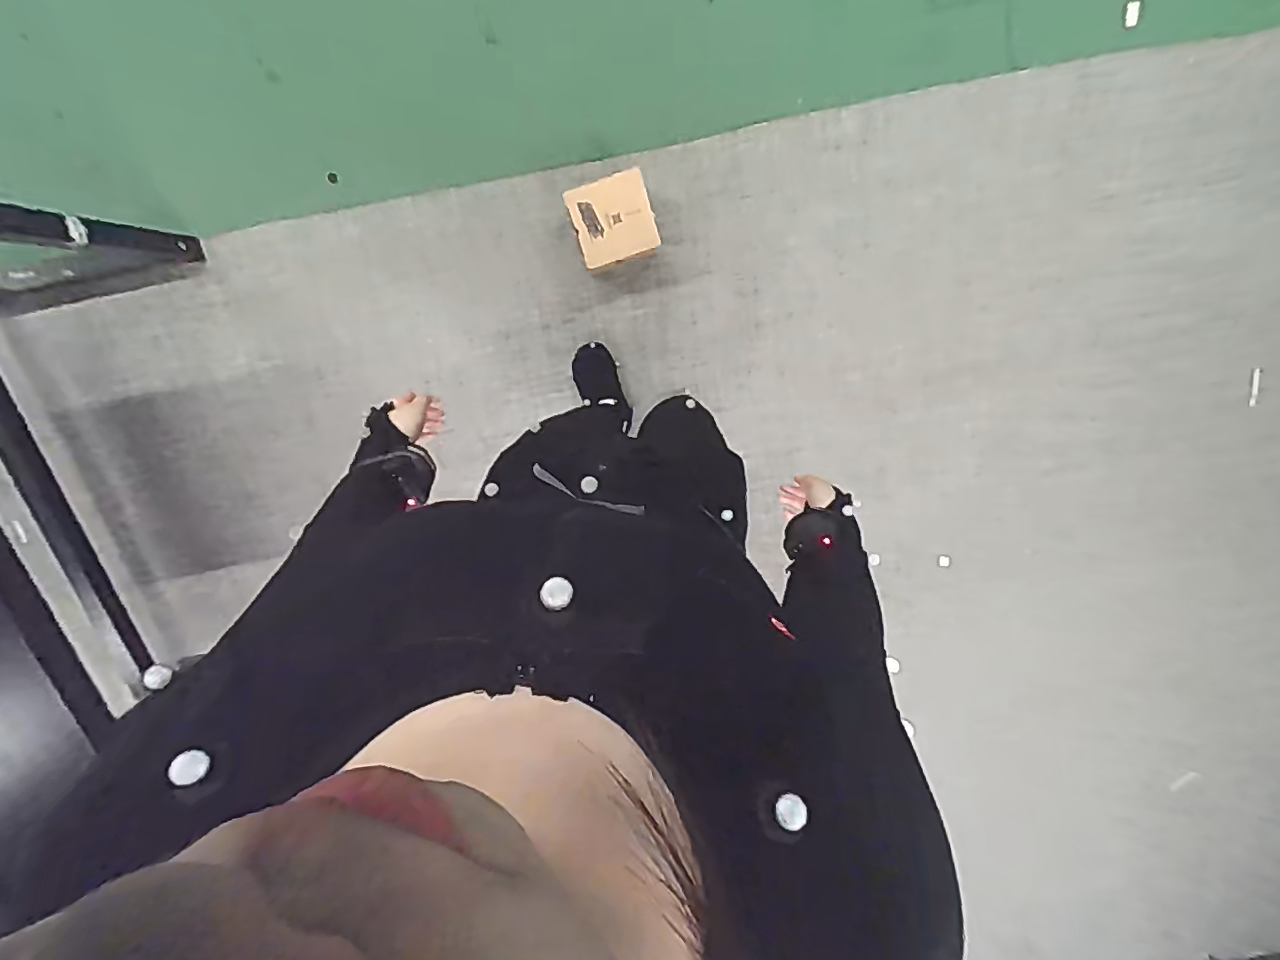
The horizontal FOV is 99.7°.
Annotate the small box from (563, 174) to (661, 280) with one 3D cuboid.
[{"bbox_3d":[-0.061,-0.571,1.244,0.179,0.176,0.168,-18,107,3],"label":"small box"}]
